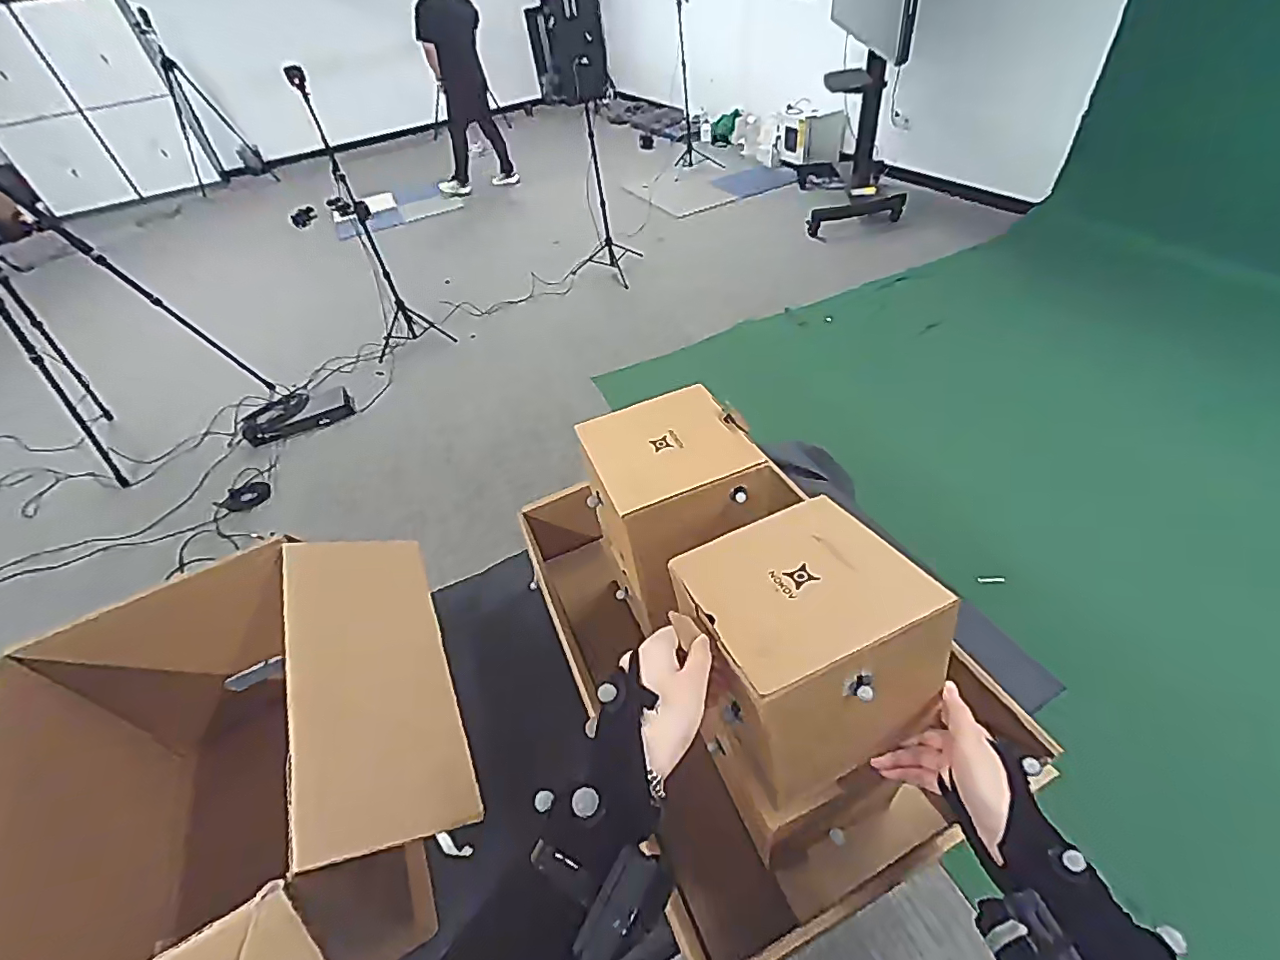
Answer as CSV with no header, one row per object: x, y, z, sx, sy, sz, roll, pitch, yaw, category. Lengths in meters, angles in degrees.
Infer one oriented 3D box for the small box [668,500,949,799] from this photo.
0.148,0.153,0.503,0.179,0.176,0.168,-22,36,-11,small box

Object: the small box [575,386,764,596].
0.038,0.016,0.677,0.179,0.176,0.168,-20,47,-11,small box
